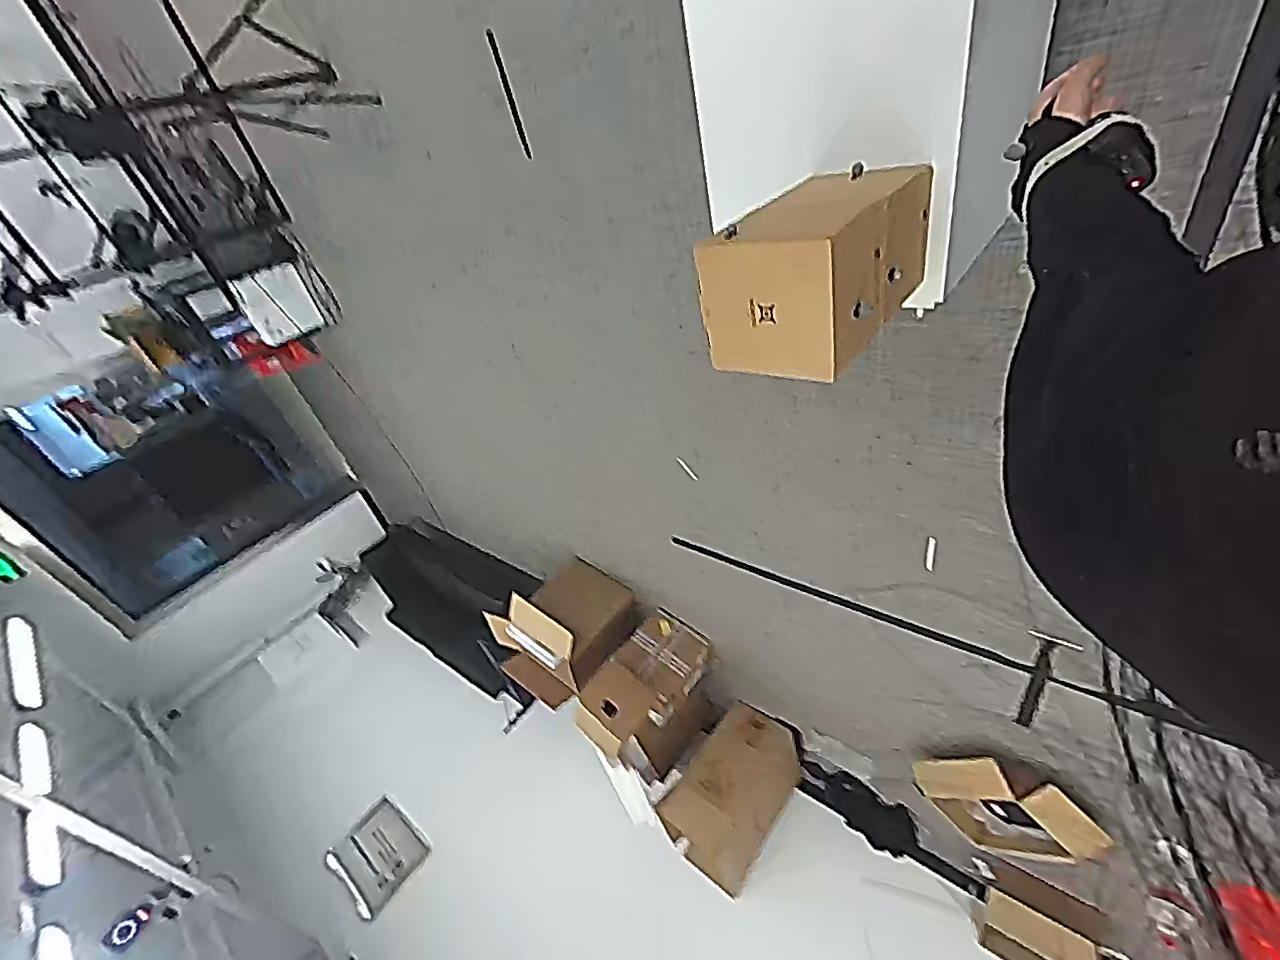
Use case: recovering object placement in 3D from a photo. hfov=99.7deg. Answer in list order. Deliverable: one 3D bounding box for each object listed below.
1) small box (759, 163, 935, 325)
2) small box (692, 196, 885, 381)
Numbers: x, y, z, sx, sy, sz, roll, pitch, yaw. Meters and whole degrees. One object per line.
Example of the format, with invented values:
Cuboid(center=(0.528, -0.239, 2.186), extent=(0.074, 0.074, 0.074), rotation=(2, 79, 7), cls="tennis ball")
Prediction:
Cuboid(center=(0.295, -0.338, 0.776), extent=(0.179, 0.176, 0.168), rotation=(18, 137, 38), cls="small box")
Cuboid(center=(0.195, -0.245, 0.686), extent=(0.179, 0.176, 0.168), rotation=(17, 136, 39), cls="small box")
